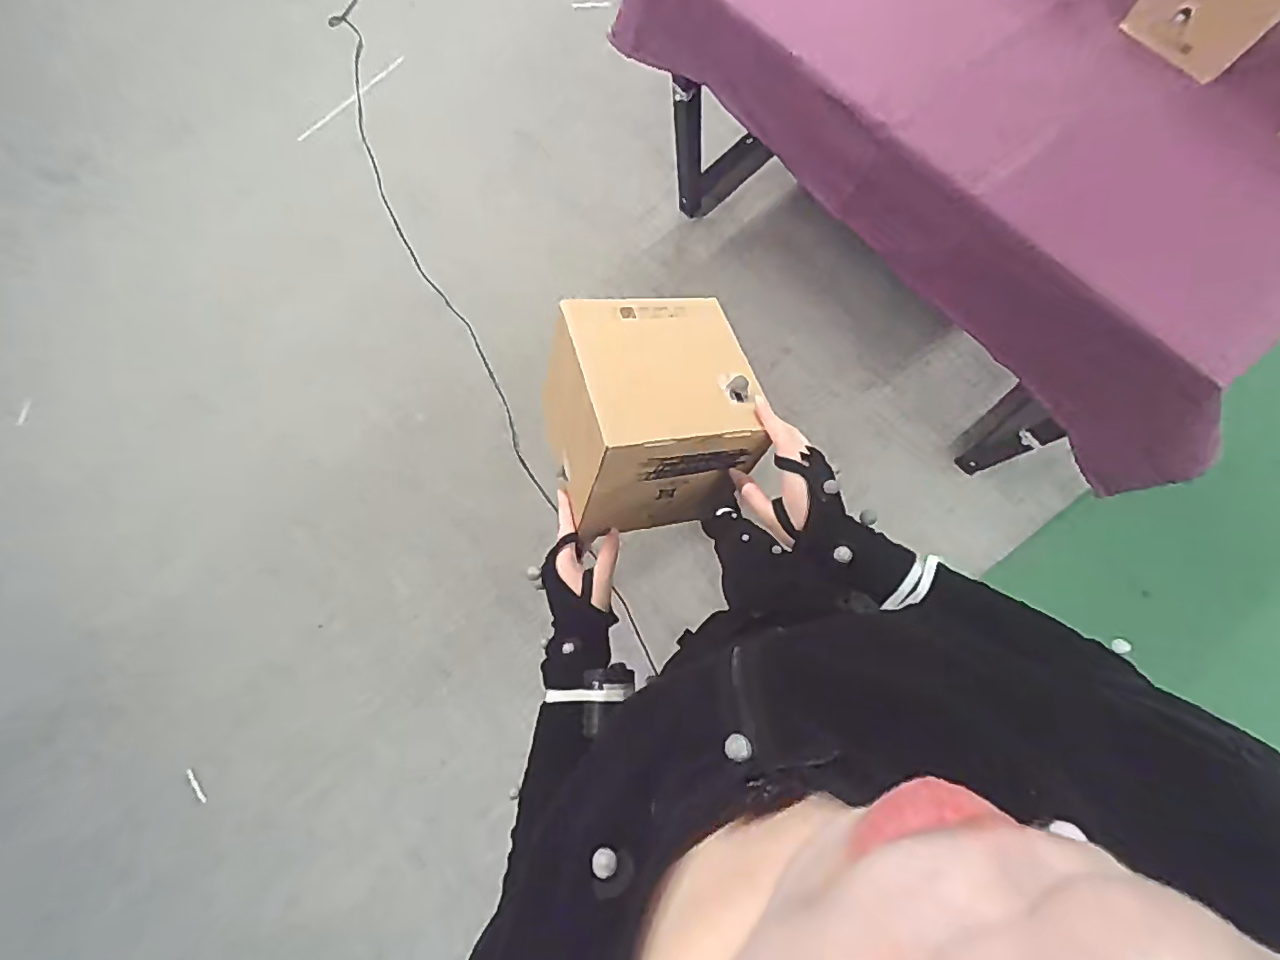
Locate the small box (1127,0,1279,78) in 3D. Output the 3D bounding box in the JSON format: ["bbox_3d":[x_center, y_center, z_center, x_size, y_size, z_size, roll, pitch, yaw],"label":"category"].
[{"bbox_3d":[0.875,-0.742,0.773,0.179,0.176,0.168,-42,78,-1],"label":"small box"}]
